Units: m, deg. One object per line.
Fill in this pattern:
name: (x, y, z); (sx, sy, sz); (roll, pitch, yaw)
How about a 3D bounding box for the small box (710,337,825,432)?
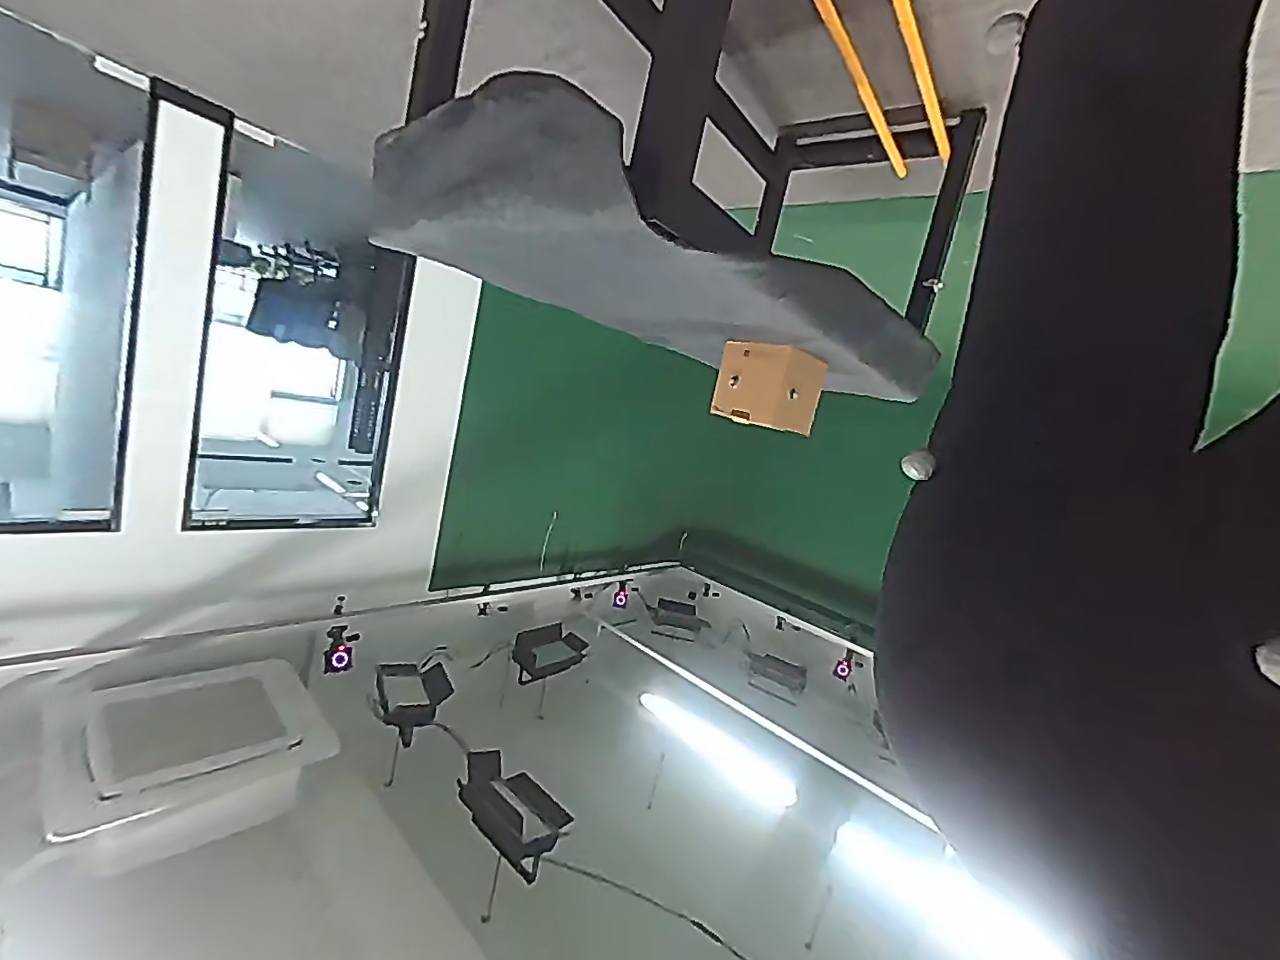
small box: (0.286, -0.214, 1.205); (0.168, 0.176, 0.179); (22, -168, 41)
